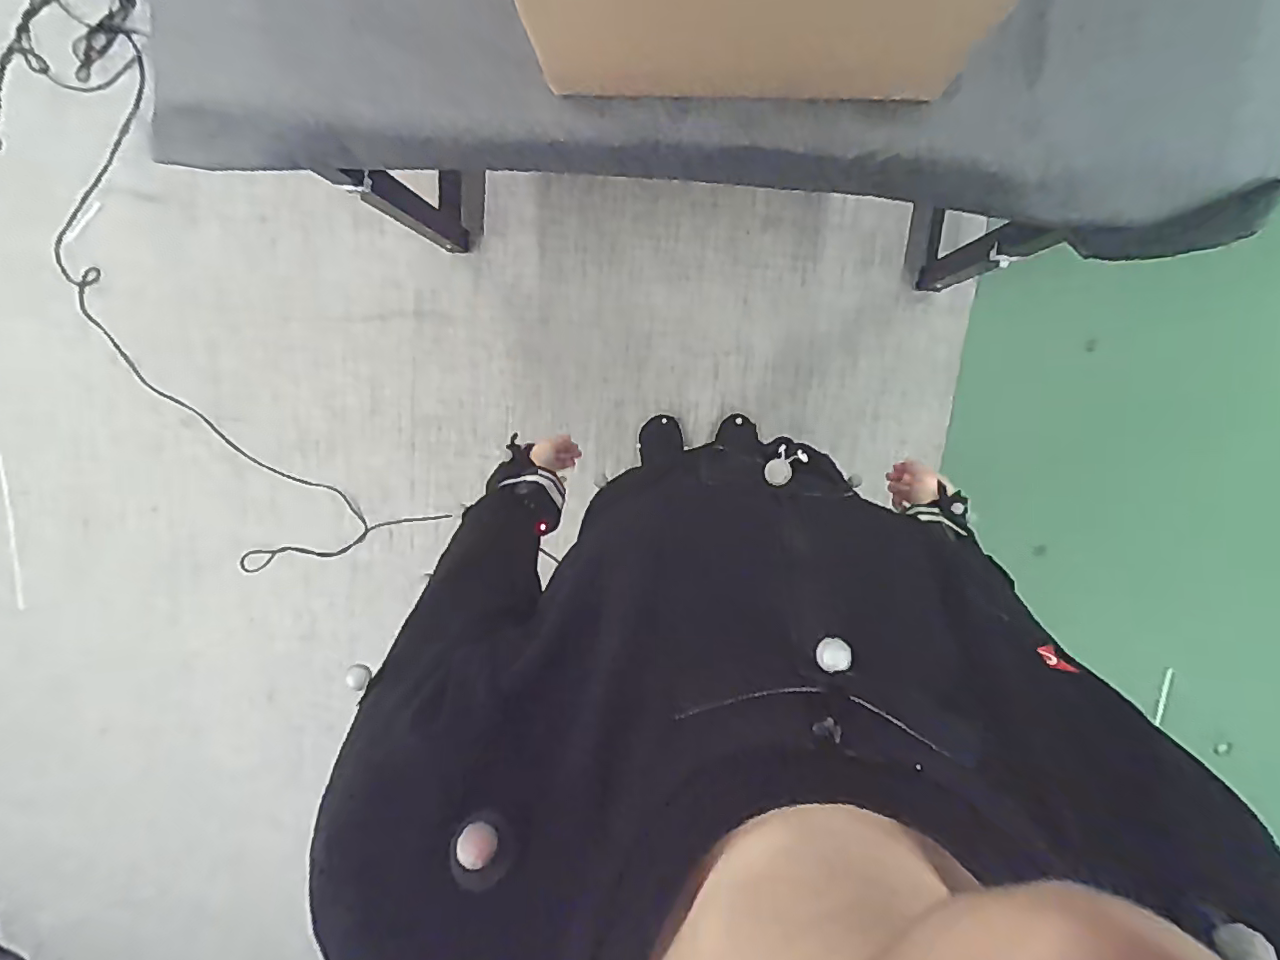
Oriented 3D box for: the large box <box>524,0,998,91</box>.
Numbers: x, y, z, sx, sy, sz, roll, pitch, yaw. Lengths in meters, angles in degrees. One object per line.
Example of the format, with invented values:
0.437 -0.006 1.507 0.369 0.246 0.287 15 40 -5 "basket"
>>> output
0.099 -0.540 0.399 0.408 0.320 0.320 2 99 3 "large box"
